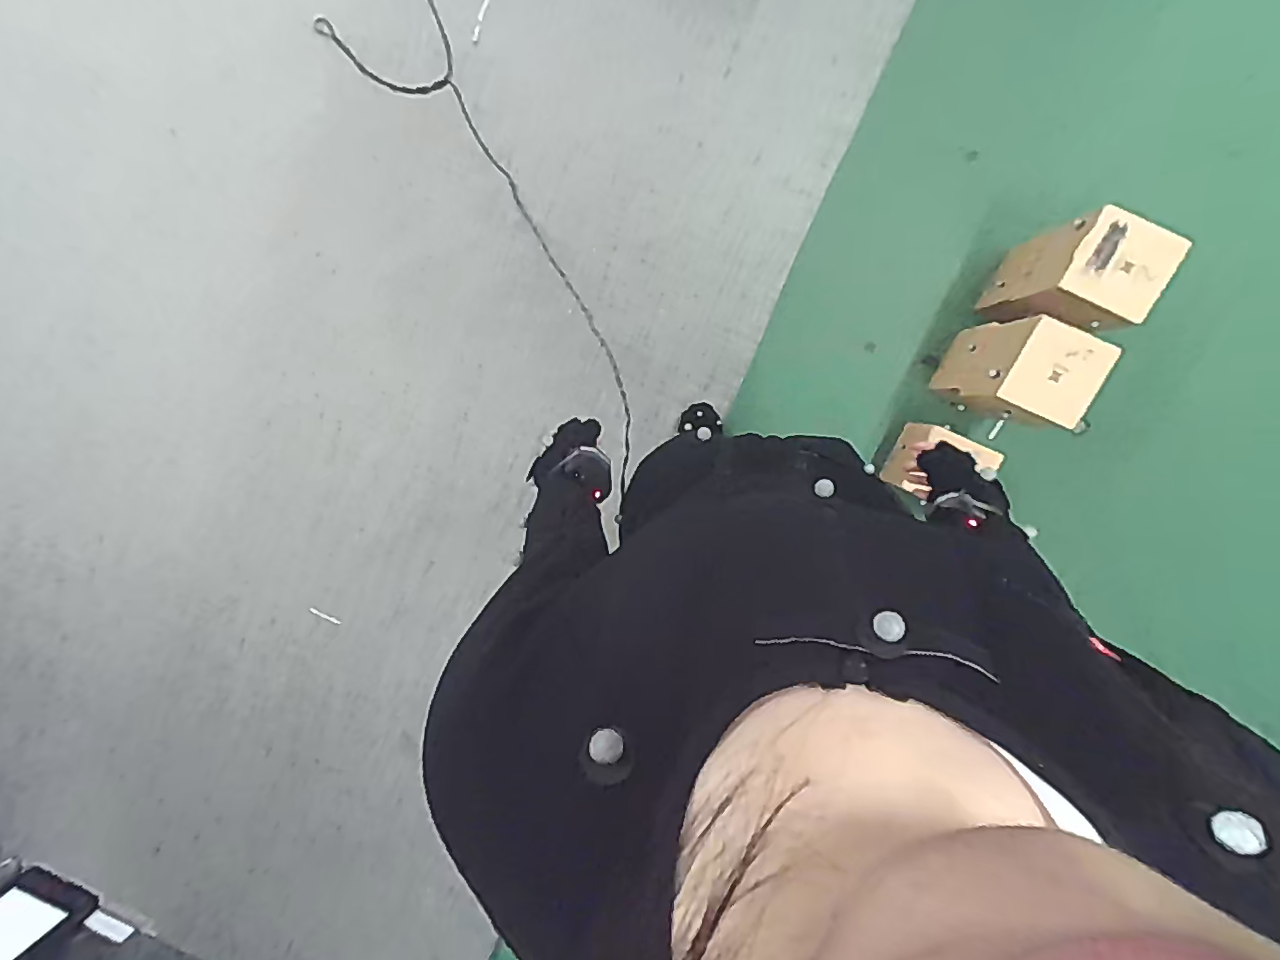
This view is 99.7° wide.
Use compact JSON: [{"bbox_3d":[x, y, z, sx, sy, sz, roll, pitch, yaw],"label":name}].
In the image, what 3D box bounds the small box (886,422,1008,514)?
[{"bbox_3d":[0.748,-0.039,1.340,0.179,0.176,0.168,25,101,4],"label":"small box"}]
